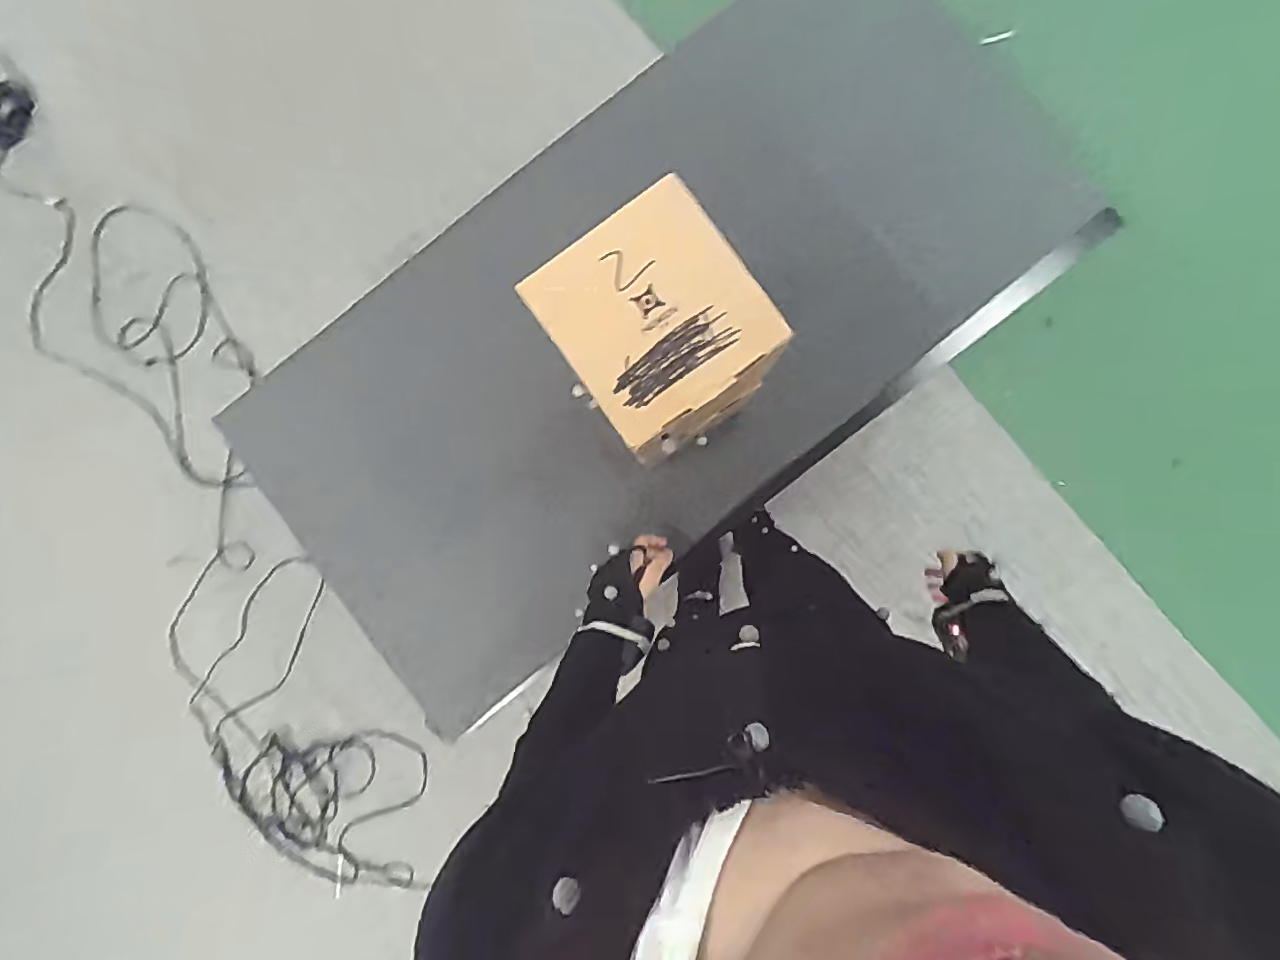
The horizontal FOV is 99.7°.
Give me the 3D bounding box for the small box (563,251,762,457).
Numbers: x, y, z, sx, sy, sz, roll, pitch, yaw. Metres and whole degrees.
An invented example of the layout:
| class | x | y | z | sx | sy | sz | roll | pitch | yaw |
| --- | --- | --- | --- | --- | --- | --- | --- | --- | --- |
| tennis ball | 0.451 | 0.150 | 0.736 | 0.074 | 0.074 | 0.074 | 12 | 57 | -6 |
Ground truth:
| class | x | y | z | sx | sy | sz | roll | pitch | yaw |
| --- | --- | --- | --- | --- | --- | --- | --- | --- | --- |
| small box | 0.027 | -0.143 | 0.688 | 0.168 | 0.176 | 0.179 | -34 | 88 | 2 |
